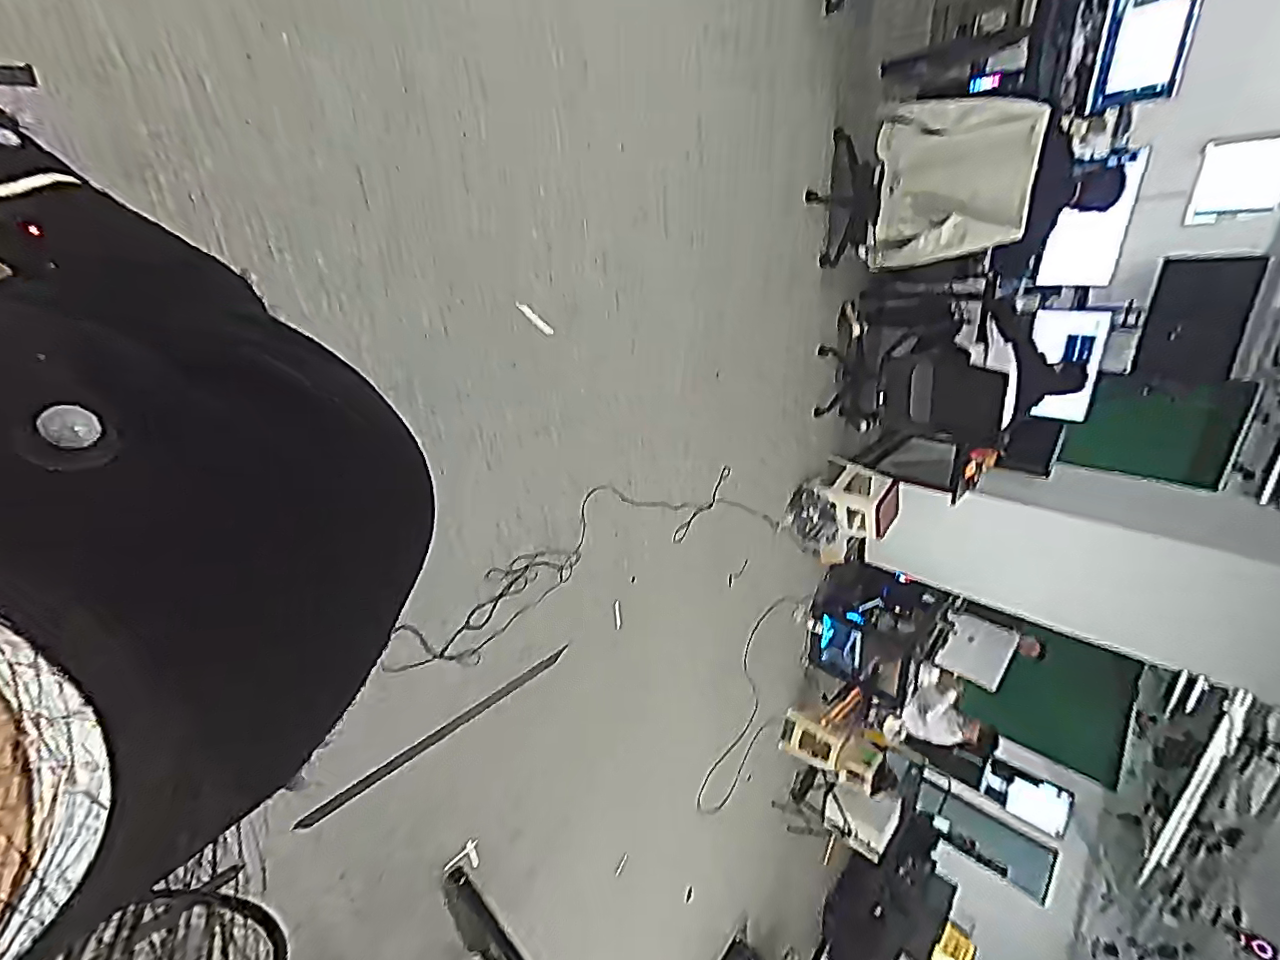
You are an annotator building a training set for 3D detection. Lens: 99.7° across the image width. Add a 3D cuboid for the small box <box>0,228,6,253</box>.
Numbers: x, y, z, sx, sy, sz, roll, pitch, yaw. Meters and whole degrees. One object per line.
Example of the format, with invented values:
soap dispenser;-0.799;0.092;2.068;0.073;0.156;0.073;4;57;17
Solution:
small box;-1.123;-0.440;0.824;0.179;0.176;0.168;-18;117;-42
